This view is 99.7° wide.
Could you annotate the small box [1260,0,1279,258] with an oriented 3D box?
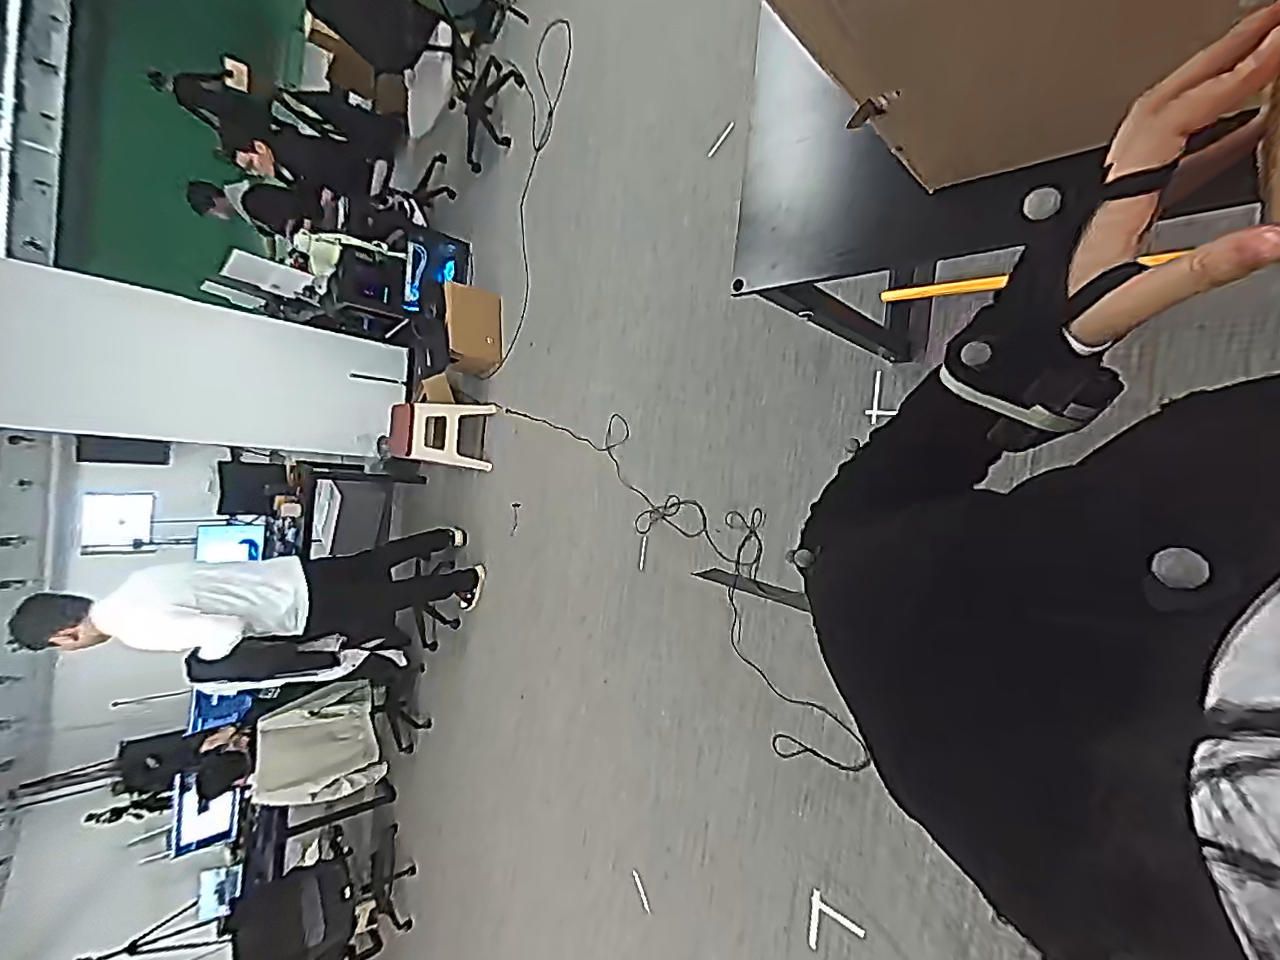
[{"bbox_3d":[0.331,-0.201,0.170,0.168,0.176,0.179,6,134,45],"label":"small box"}]
